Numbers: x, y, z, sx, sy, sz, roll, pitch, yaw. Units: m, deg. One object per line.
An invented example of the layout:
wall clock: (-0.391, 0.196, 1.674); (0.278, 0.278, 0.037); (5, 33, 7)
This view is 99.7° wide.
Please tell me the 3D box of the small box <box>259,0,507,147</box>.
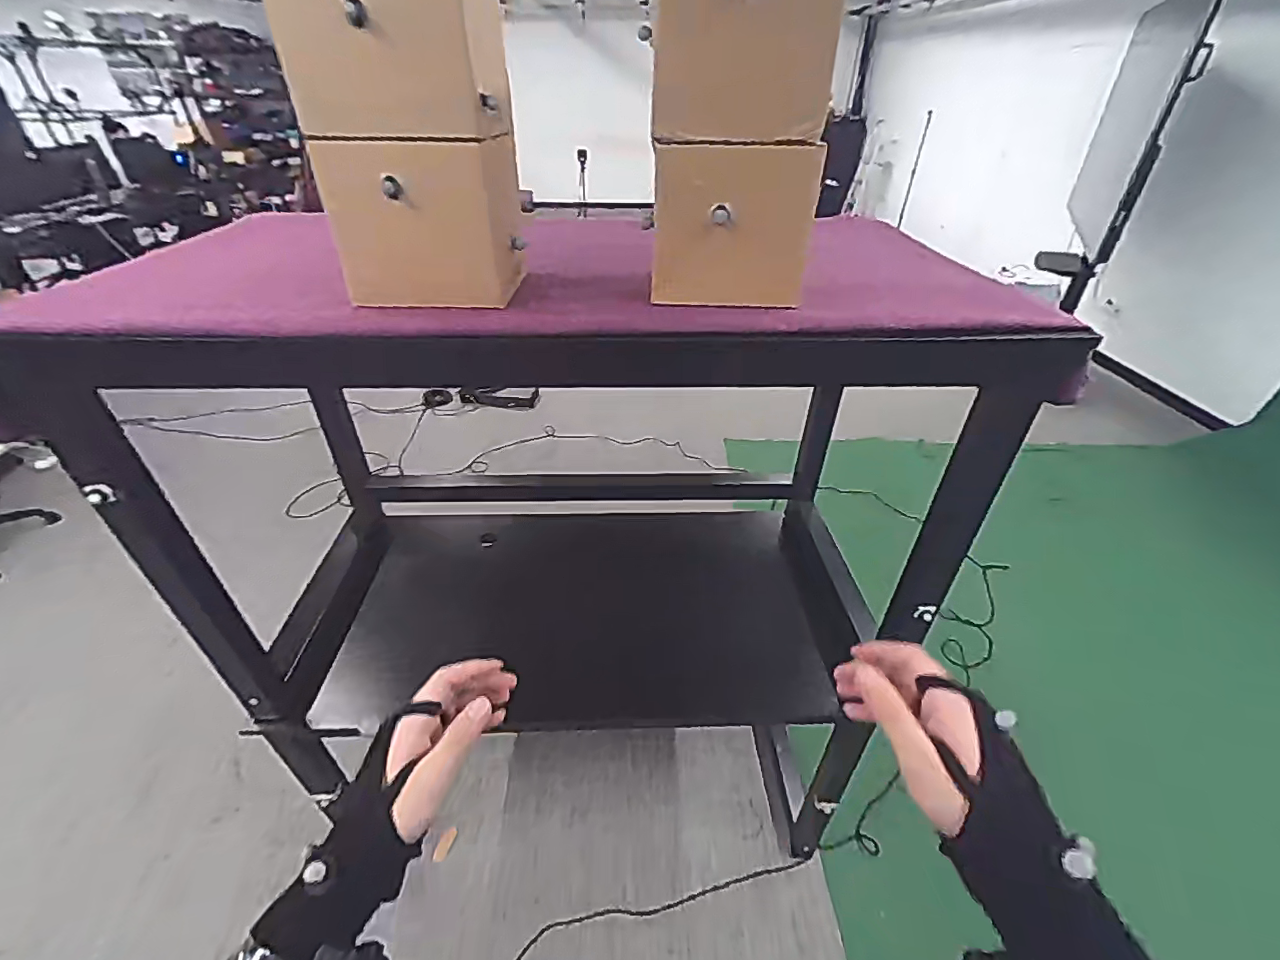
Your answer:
small box: (-0.244, -0.441, 0.550); (0.179, 0.176, 0.168); (-1, 35, 1)

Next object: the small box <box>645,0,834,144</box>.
small box: (0.095, -0.452, 0.564); (0.179, 0.176, 0.168); (2, 36, 3)

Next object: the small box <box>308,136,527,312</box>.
small box: (-0.244, -0.308, 0.647); (0.179, 0.176, 0.168); (0, 36, 1)

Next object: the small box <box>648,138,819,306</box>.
small box: (0.101, -0.318, 0.659); (0.179, 0.176, 0.168); (0, 36, 2)
